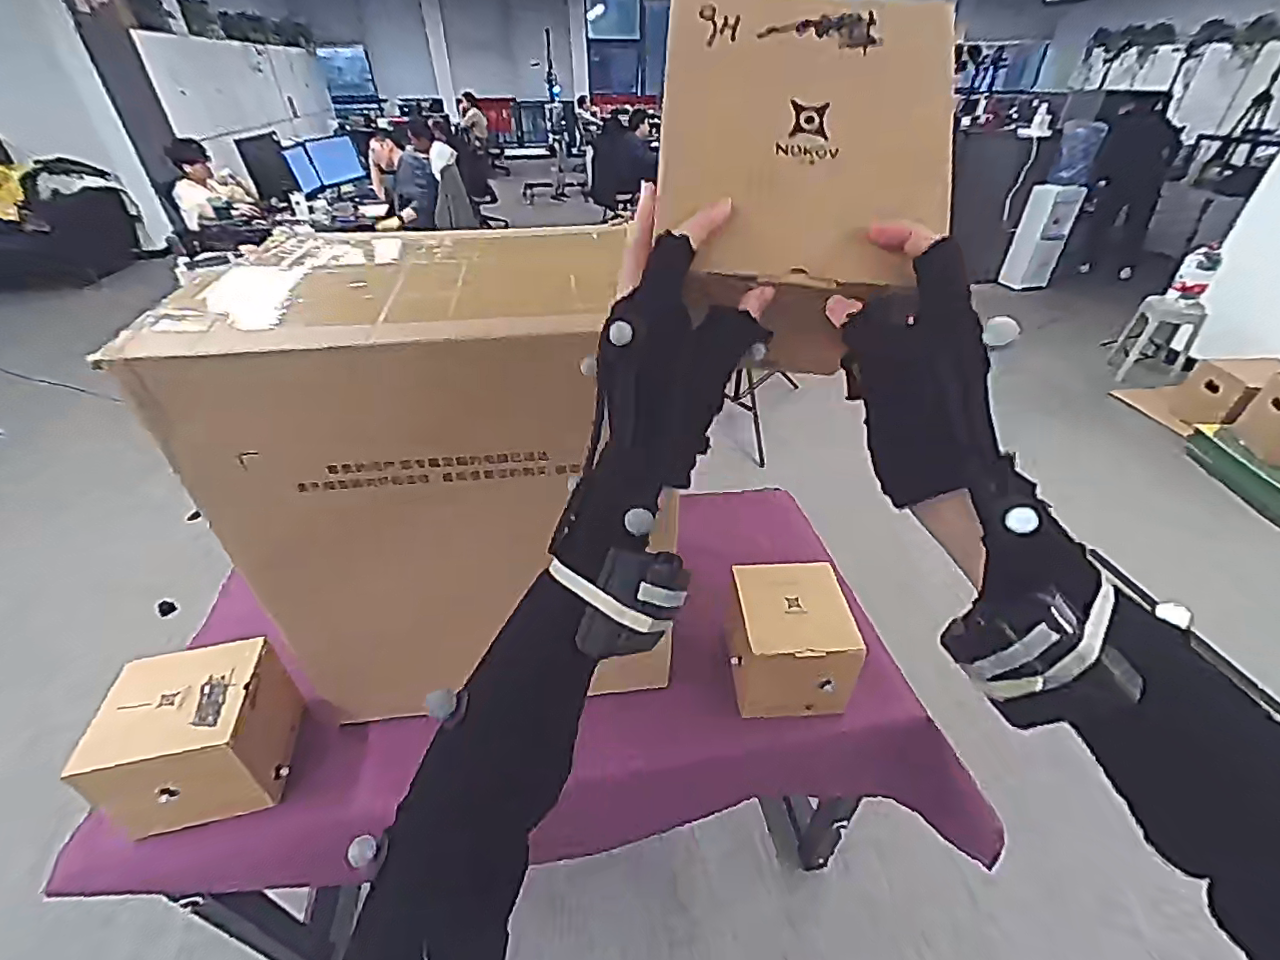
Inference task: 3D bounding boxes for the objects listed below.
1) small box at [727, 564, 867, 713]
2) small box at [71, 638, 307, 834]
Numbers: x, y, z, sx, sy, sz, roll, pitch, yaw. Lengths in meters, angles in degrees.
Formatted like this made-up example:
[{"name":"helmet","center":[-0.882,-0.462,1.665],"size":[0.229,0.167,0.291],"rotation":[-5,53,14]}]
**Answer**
[{"name":"small box","center":[0.240,0.258,0.874],"size":[0.168,0.176,0.179],"rotation":[-1,35,-2]},{"name":"small box","center":[-0.595,0.352,0.750],"size":[0.179,0.176,0.168],"rotation":[-8,36,-12]}]
